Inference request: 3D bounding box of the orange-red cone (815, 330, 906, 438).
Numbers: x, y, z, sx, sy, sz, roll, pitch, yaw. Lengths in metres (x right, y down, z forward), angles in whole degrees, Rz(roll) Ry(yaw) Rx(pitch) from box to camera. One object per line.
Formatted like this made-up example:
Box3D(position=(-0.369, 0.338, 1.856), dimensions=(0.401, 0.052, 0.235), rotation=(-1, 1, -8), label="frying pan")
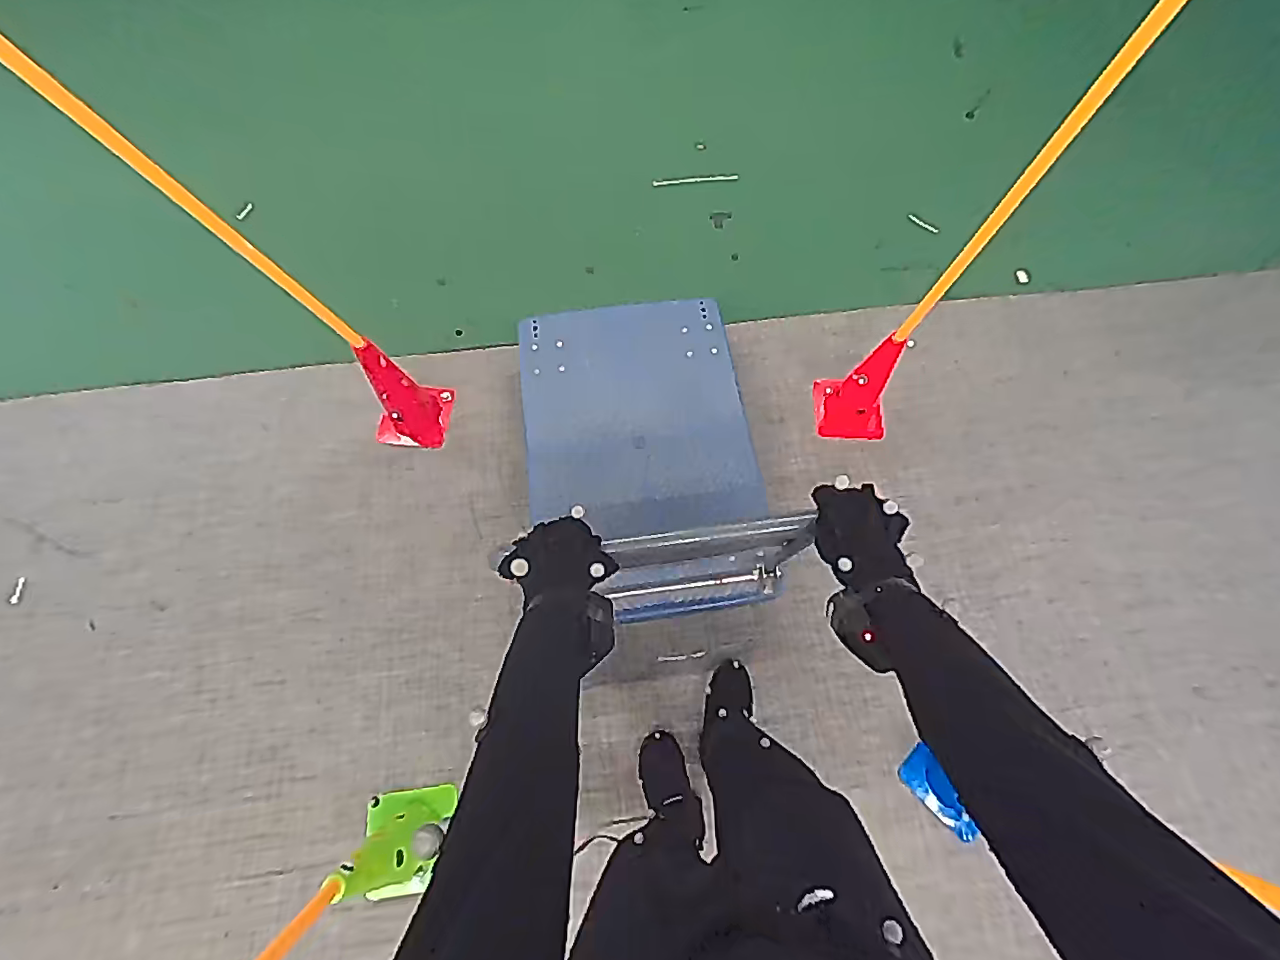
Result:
Box3D(position=(0.623, -0.279, 1.458), dimensions=(0.198, 0.360, 0.199), rotation=(4, 69, 2), label="orange-red cone")
